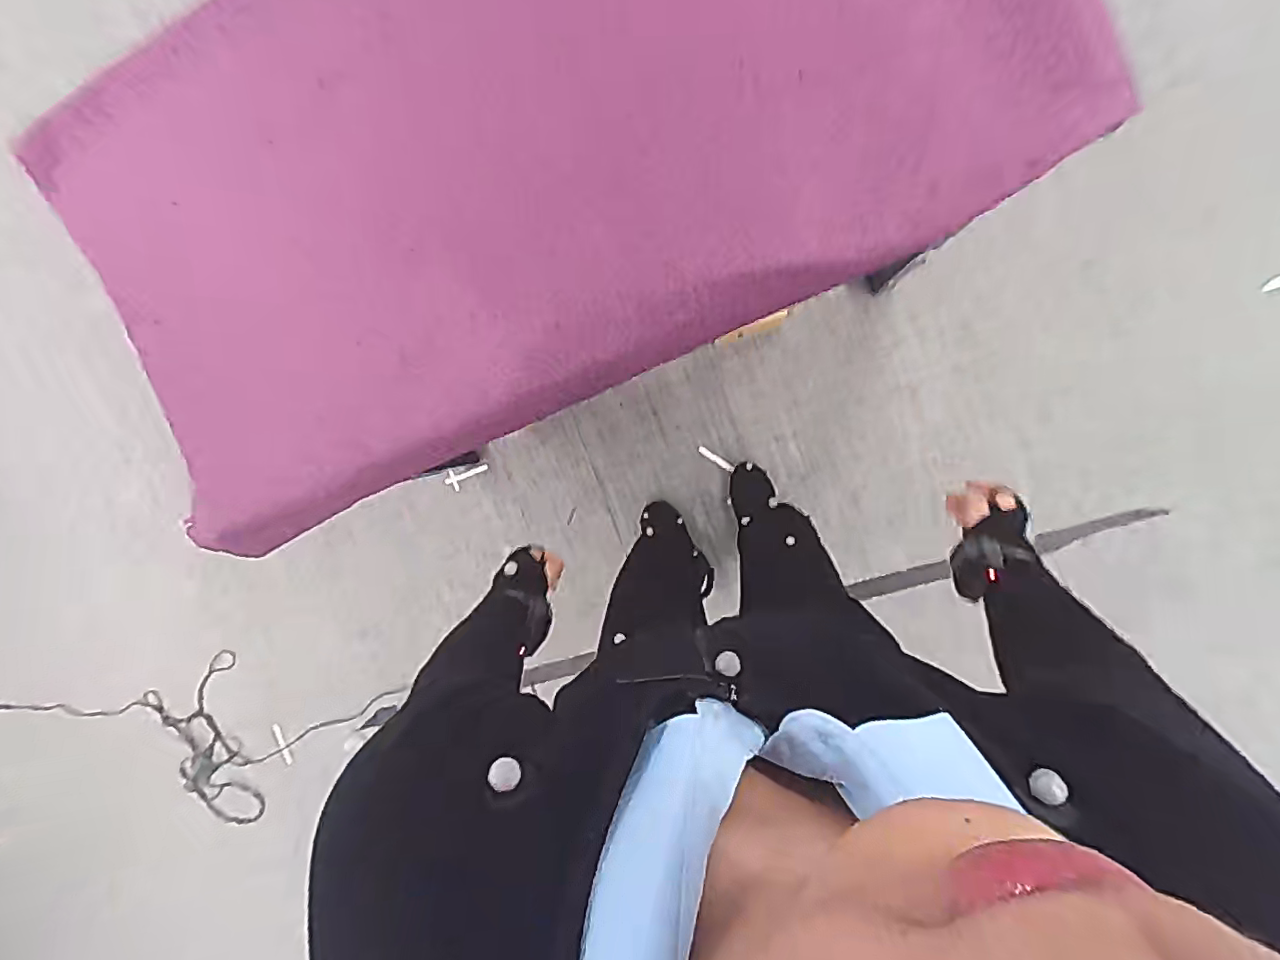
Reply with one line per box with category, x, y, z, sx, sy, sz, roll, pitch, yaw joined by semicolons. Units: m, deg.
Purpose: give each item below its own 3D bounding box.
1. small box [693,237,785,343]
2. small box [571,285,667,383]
small box;0.229;-0.427;1.253;0.168;0.176;0.179;-16;93;11
small box;-0.042;-0.341;1.306;0.168;0.176;0.179;-19;93;11
